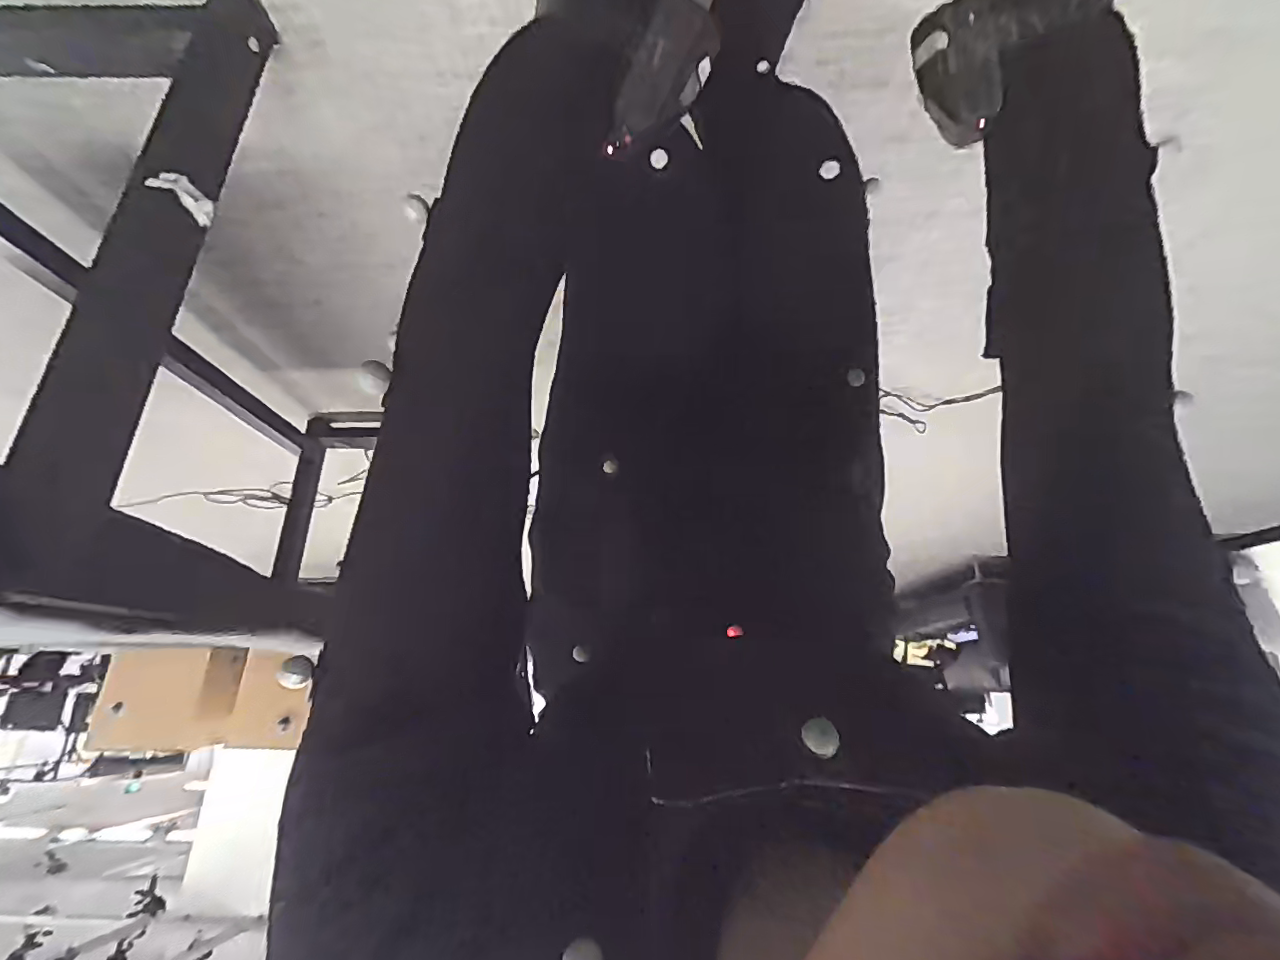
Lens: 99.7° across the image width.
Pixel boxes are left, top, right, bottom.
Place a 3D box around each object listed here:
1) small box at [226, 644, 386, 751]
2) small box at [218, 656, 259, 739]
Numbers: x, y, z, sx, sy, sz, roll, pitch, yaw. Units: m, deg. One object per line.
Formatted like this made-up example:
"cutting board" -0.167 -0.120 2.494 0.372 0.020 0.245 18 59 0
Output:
"small box" -0.602 0.400 1.001 0.179 0.176 0.168 1 158 0
"small box" -0.803 0.492 1.236 0.179 0.176 0.168 1 158 0
